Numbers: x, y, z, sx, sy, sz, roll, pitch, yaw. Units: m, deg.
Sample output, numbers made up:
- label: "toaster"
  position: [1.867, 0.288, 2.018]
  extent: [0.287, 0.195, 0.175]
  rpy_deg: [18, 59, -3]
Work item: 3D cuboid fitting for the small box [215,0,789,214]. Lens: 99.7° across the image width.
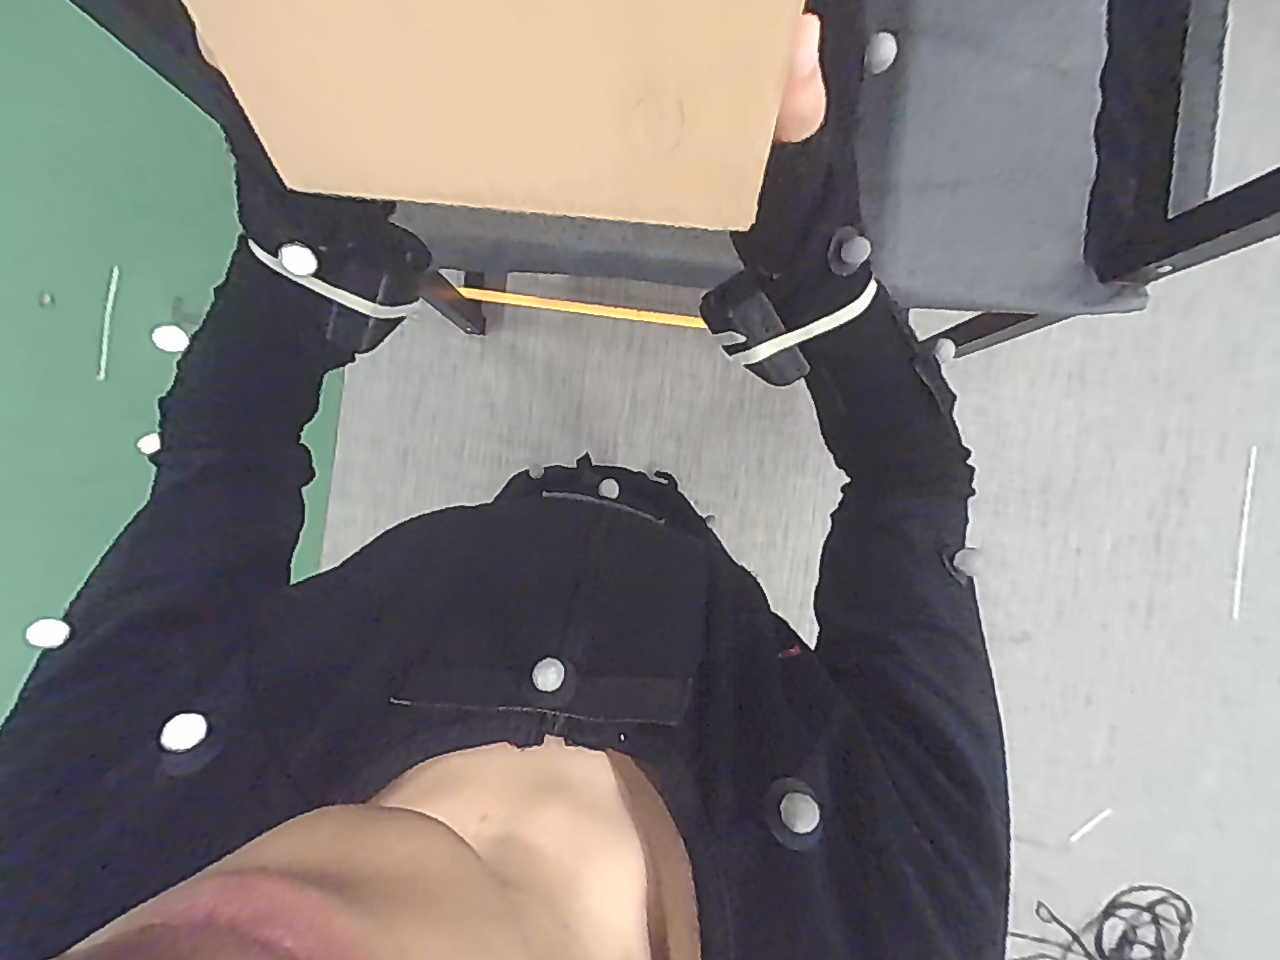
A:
- label: "small box"
  position: [-0.031, -0.217, 0.162]
  extent: [0.168, 0.179, 0.176]
  rpy_deg: [5, 61, 1]
